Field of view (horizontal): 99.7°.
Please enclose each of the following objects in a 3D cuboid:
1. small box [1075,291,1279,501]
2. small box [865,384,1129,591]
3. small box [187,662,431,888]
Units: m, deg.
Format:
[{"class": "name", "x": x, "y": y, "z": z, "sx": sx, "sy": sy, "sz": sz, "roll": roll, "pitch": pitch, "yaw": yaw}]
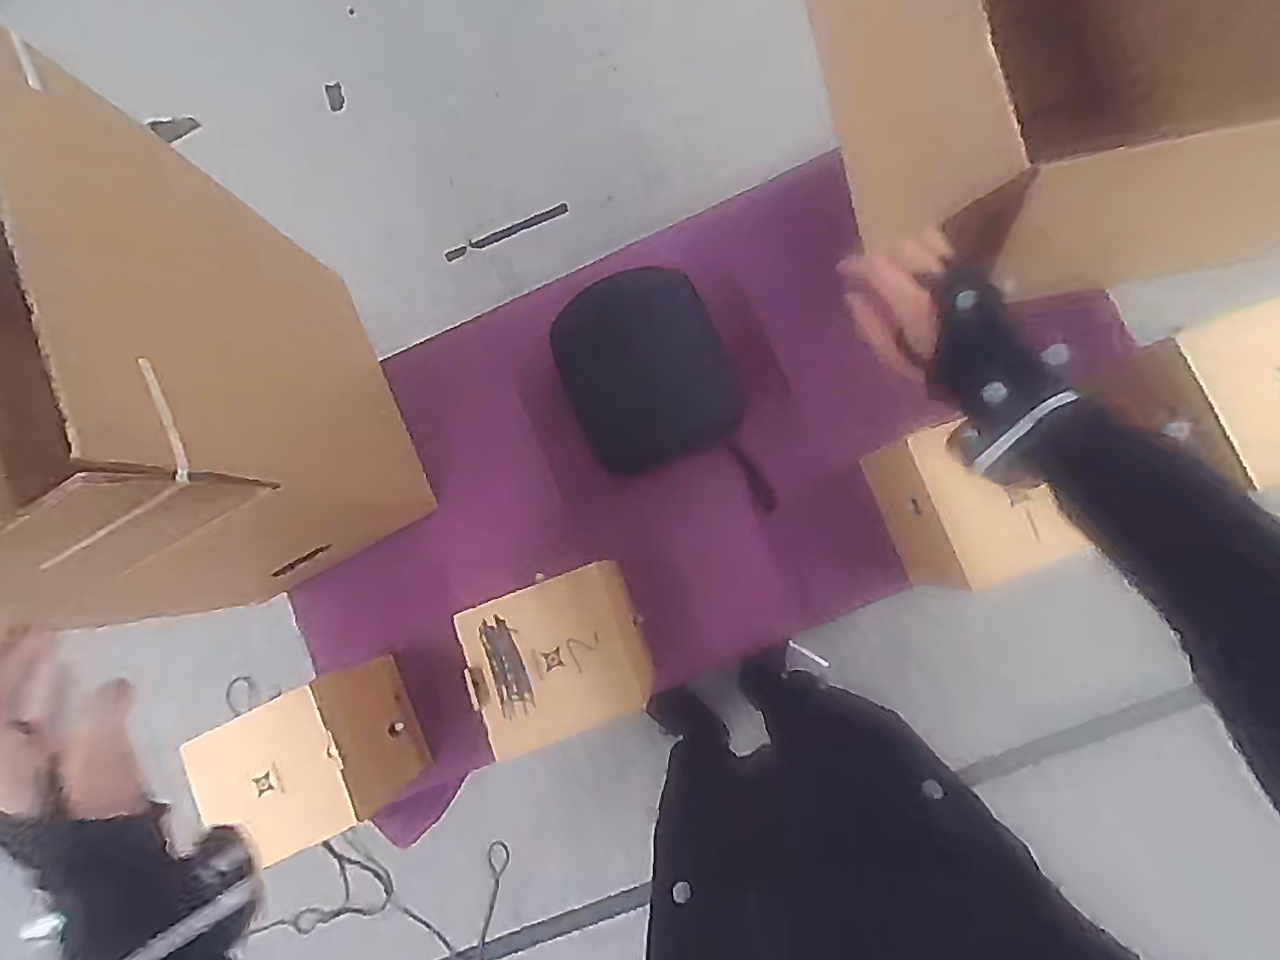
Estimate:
[{"class": "small box", "x": 0.655, "y": -0.088, "z": 0.612, "sx": 0.168, "sy": 0.176, "sz": 0.179, "roll": -21, "pitch": 81, "yaw": 5}, {"class": "small box", "x": 0.391, "y": 0.017, "z": 0.633, "sx": 0.168, "sy": 0.176, "sz": 0.179, "roll": -21, "pitch": 82, "yaw": 4}, {"class": "small box", "x": -0.404, "y": 0.354, "z": 0.685, "sx": 0.179, "sy": 0.176, "sz": 0.168, "roll": -27, "pitch": 81, "yaw": 2}]
